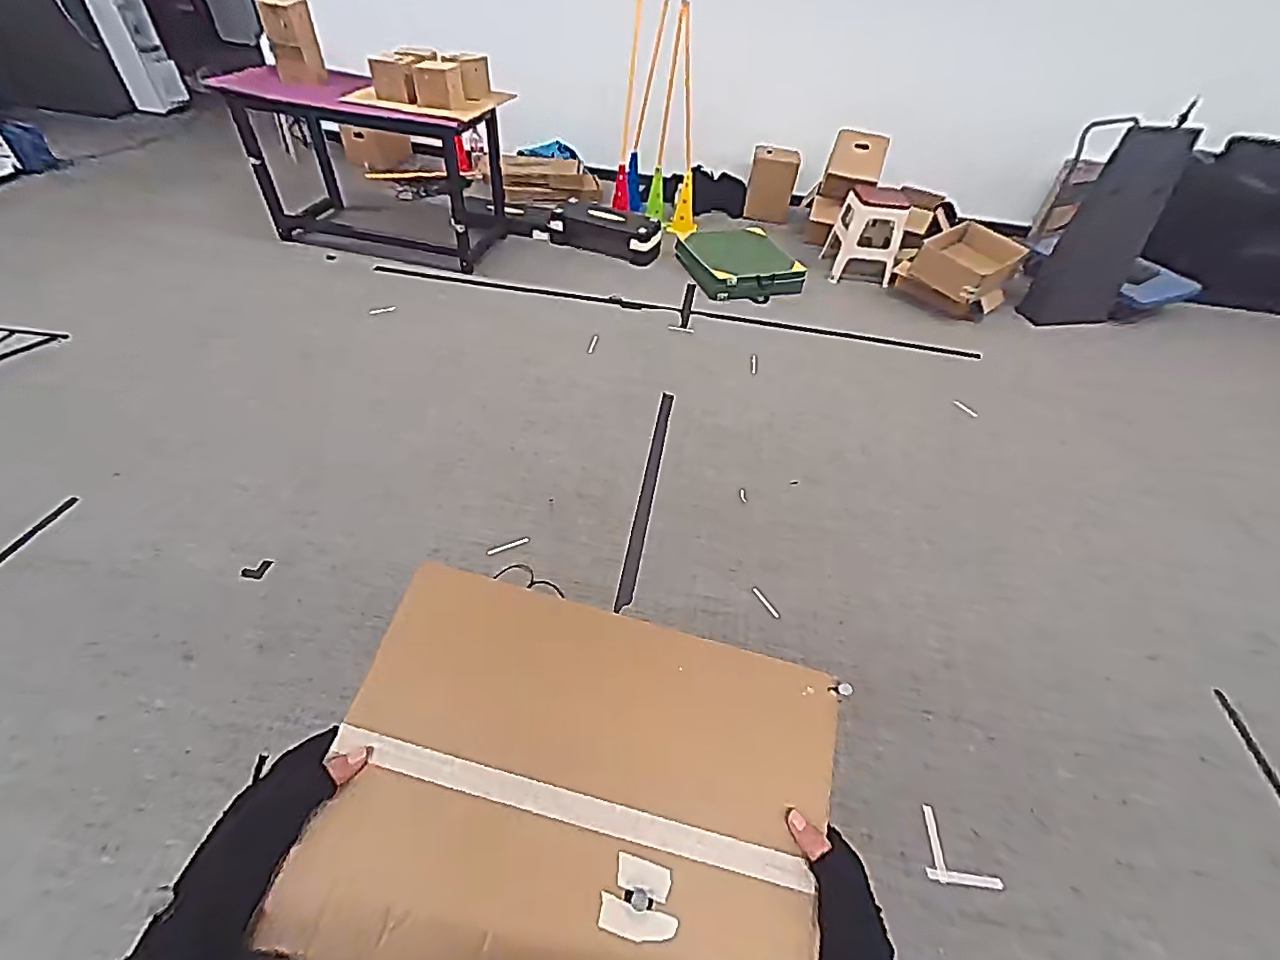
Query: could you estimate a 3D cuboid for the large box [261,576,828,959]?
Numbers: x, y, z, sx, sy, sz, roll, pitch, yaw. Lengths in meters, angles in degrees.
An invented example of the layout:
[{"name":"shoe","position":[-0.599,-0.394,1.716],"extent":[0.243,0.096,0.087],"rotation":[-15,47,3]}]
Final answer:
[{"name":"large box","position":[-0.063,0.336,0.582],"extent":[0.408,0.320,0.320],"rotation":[15,64,3]}]
